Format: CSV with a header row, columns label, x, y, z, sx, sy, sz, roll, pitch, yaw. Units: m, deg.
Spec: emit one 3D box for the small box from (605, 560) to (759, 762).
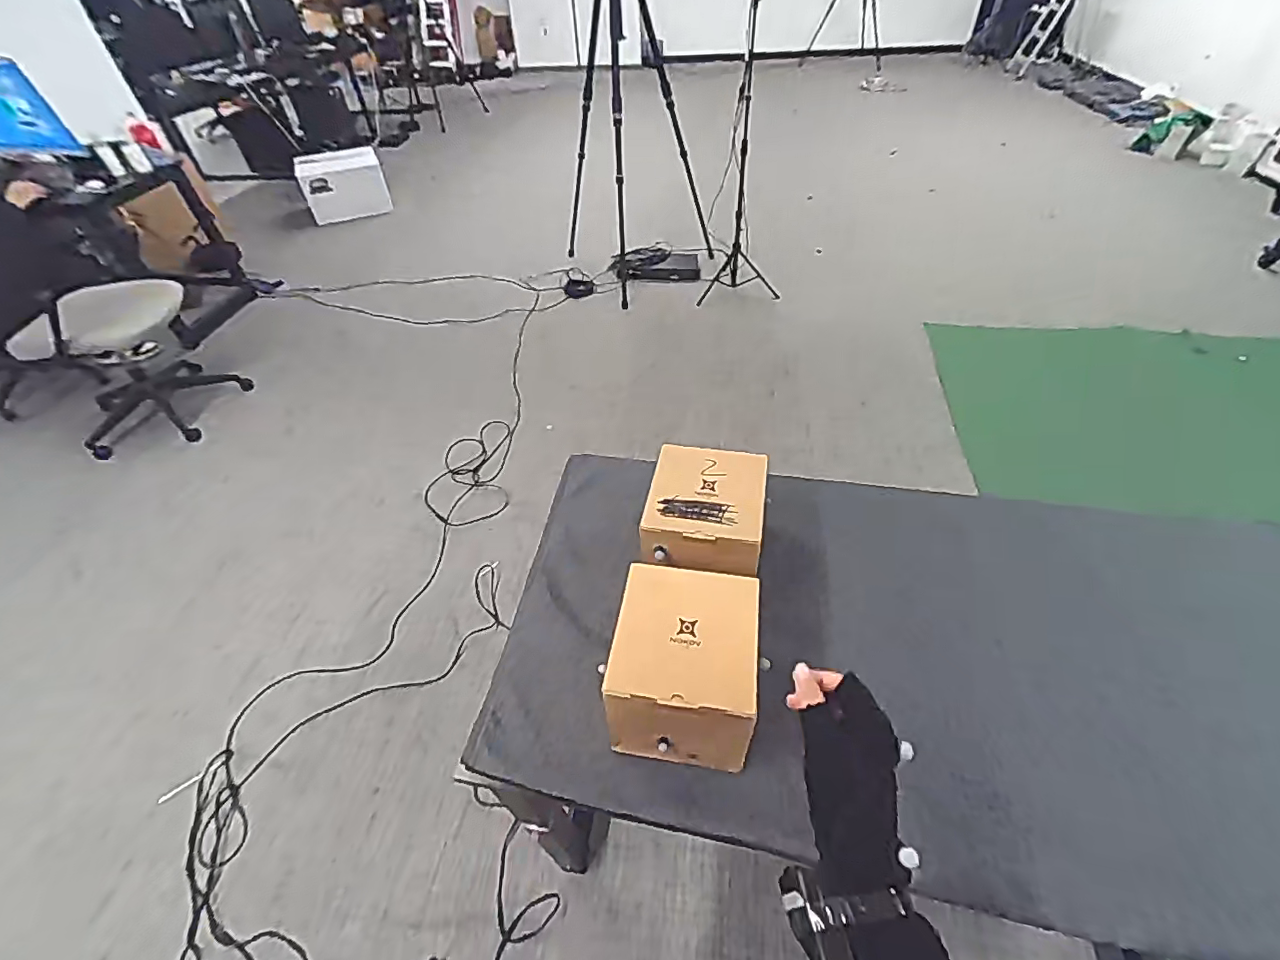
label,x,y,z,sx,sy,sz,roll,pitch,yaw
small box,0.056,0.229,0.690,0.168,0.176,0.179,6,45,8
